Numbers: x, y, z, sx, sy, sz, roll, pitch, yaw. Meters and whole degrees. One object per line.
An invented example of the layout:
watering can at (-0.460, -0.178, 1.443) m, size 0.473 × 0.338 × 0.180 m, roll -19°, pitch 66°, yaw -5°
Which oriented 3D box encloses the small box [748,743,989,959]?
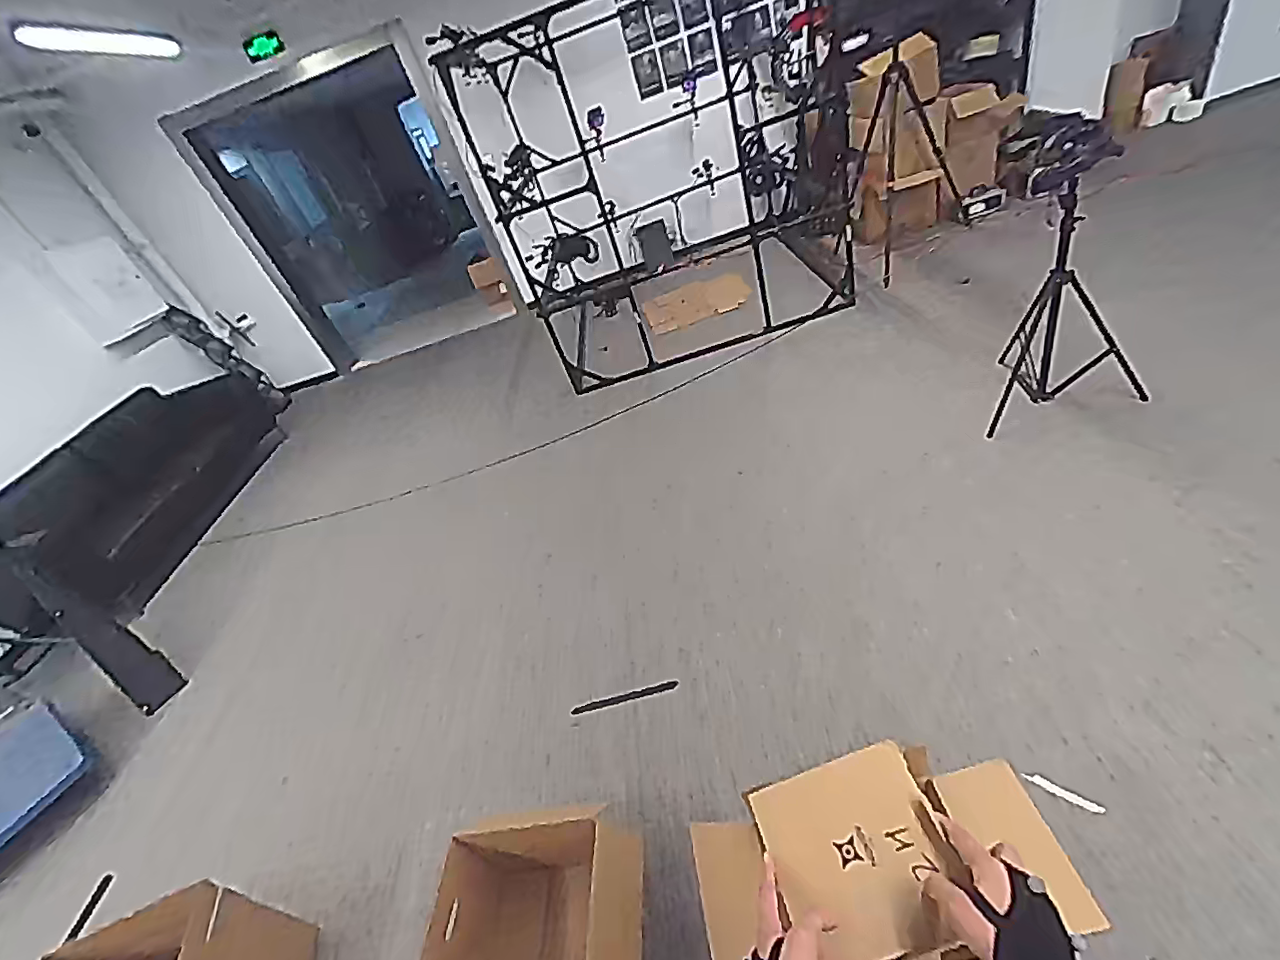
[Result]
small box at (0.244, 0.425, 0.591) m, size 0.179 × 0.176 × 0.168 m, roll -25°, pitch 43°, yaw 5°
